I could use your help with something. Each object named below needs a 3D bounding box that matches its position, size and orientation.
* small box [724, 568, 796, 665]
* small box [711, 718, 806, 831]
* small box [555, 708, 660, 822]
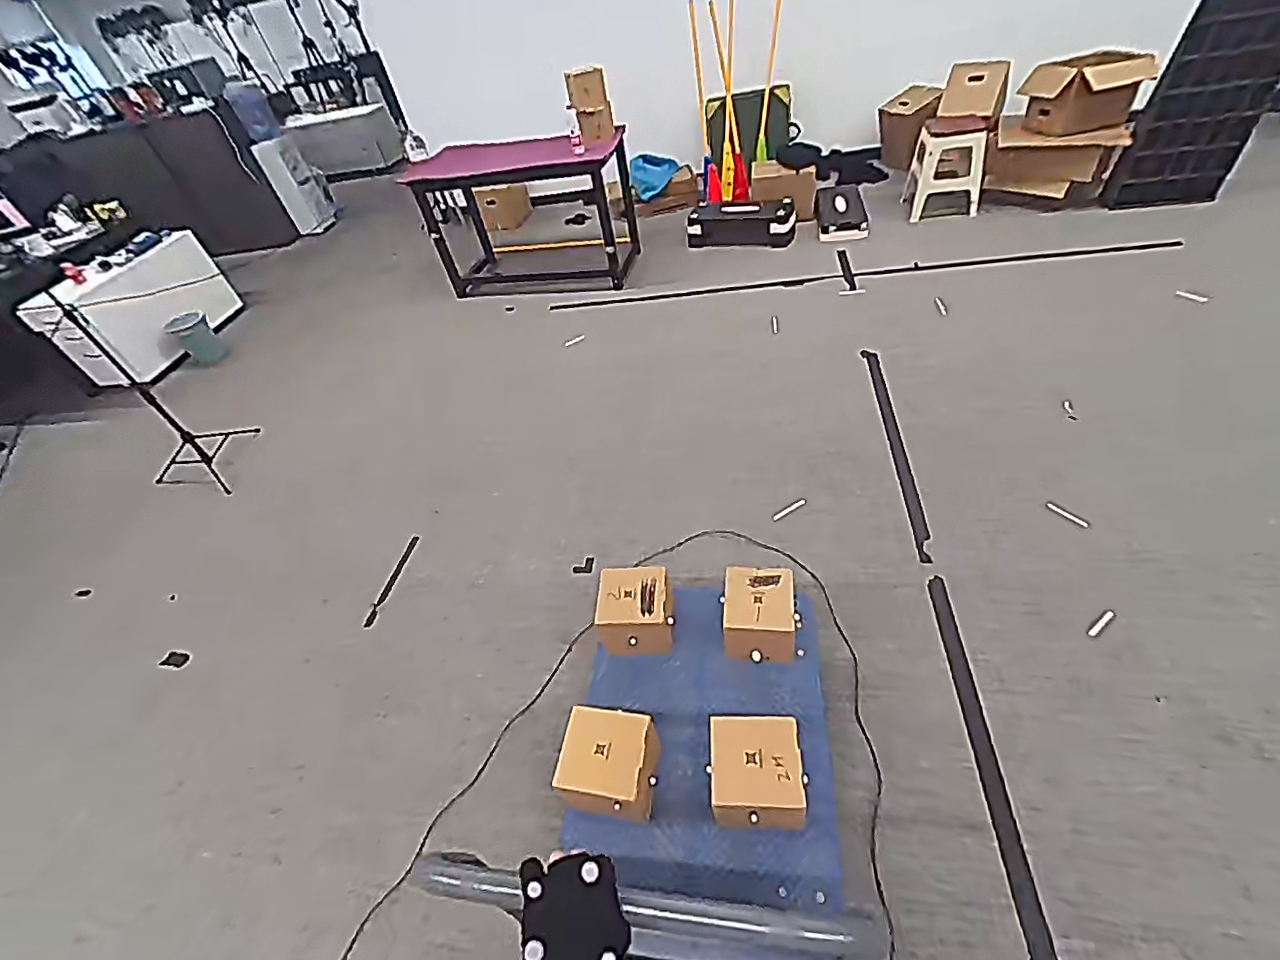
[{"bbox_3d":[0.303,0.343,1.363,0.168,0.176,0.179,0,47,13],"label":"small box"},{"bbox_3d":[0.241,0.606,1.111,0.179,0.176,0.168,-4,45,10],"label":"small box"},{"bbox_3d":[-0.062,0.618,1.171,0.179,0.176,0.168,2,45,13],"label":"small box"}]
